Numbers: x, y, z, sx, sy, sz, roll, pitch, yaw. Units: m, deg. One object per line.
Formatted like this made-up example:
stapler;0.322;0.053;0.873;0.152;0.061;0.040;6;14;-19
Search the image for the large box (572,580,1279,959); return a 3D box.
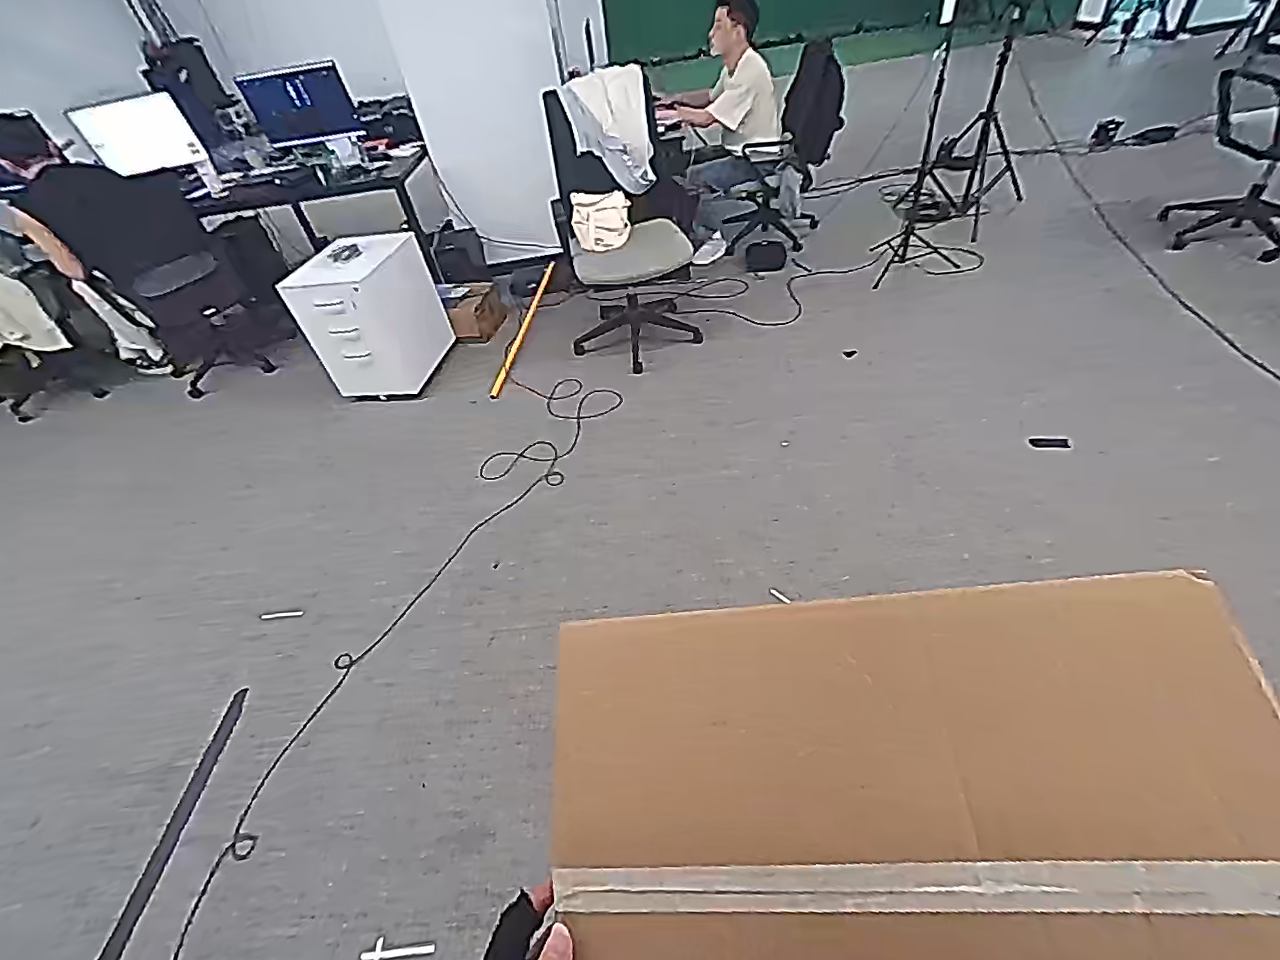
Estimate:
large box;0.181;0.290;0.431;0.408;0.320;0.320;-8;64;10
